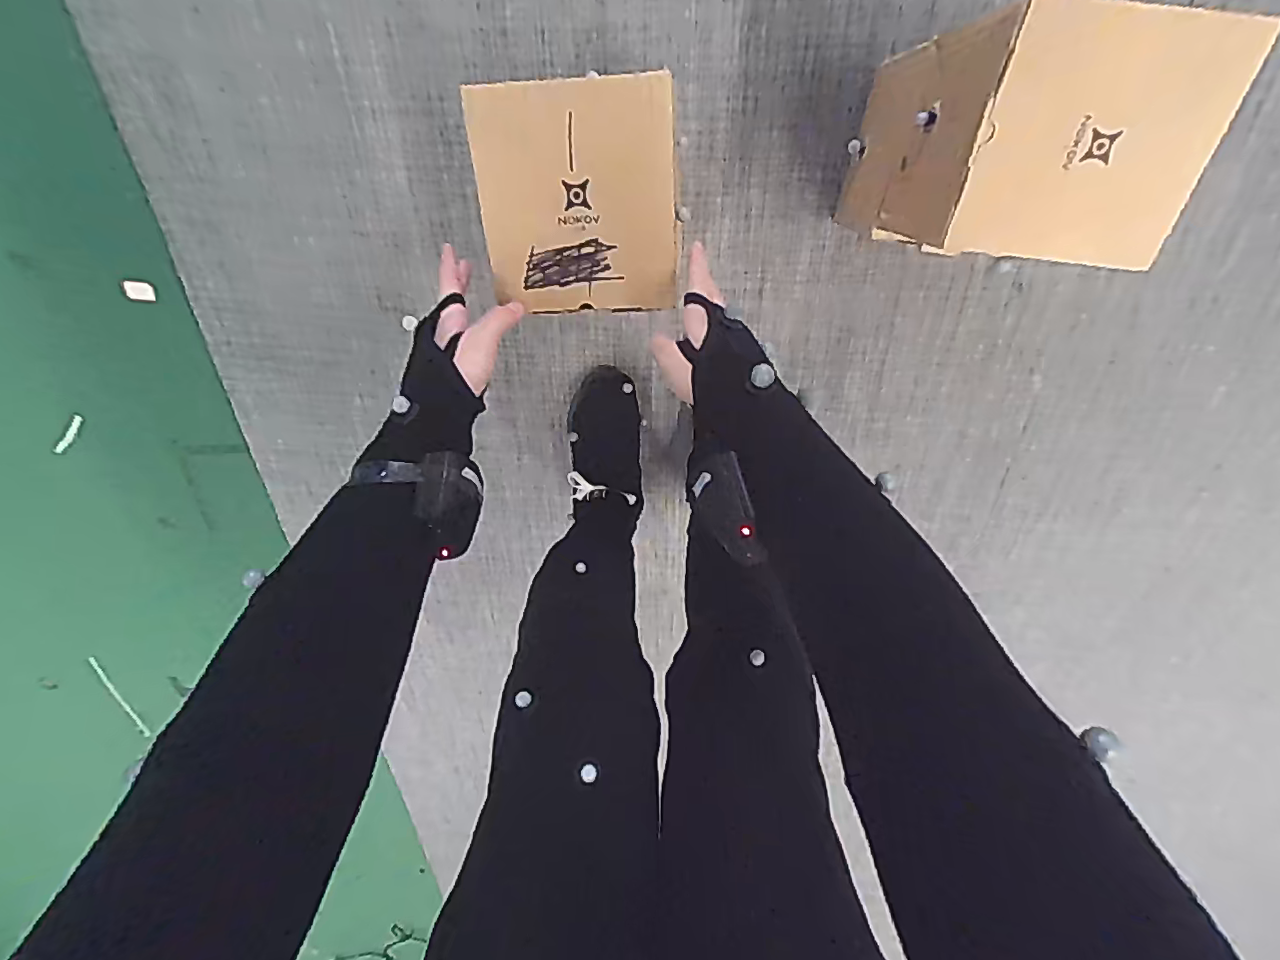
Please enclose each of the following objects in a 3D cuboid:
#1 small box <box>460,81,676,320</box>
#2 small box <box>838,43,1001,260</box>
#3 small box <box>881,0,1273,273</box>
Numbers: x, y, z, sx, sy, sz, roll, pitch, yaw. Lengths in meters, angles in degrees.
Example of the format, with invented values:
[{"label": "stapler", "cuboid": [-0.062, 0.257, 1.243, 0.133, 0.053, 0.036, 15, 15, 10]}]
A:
[{"label": "small box", "cuboid": [-0.049, -0.265, 0.523, 0.168, 0.176, 0.179, -1, 120, 5]}, {"label": "small box", "cuboid": [0.344, -0.370, 0.619, 0.168, 0.176, 0.179, 7, 123, -1]}, {"label": "small box", "cuboid": [0.344, -0.292, 0.477, 0.179, 0.176, 0.168, 7, 122, 2]}]
